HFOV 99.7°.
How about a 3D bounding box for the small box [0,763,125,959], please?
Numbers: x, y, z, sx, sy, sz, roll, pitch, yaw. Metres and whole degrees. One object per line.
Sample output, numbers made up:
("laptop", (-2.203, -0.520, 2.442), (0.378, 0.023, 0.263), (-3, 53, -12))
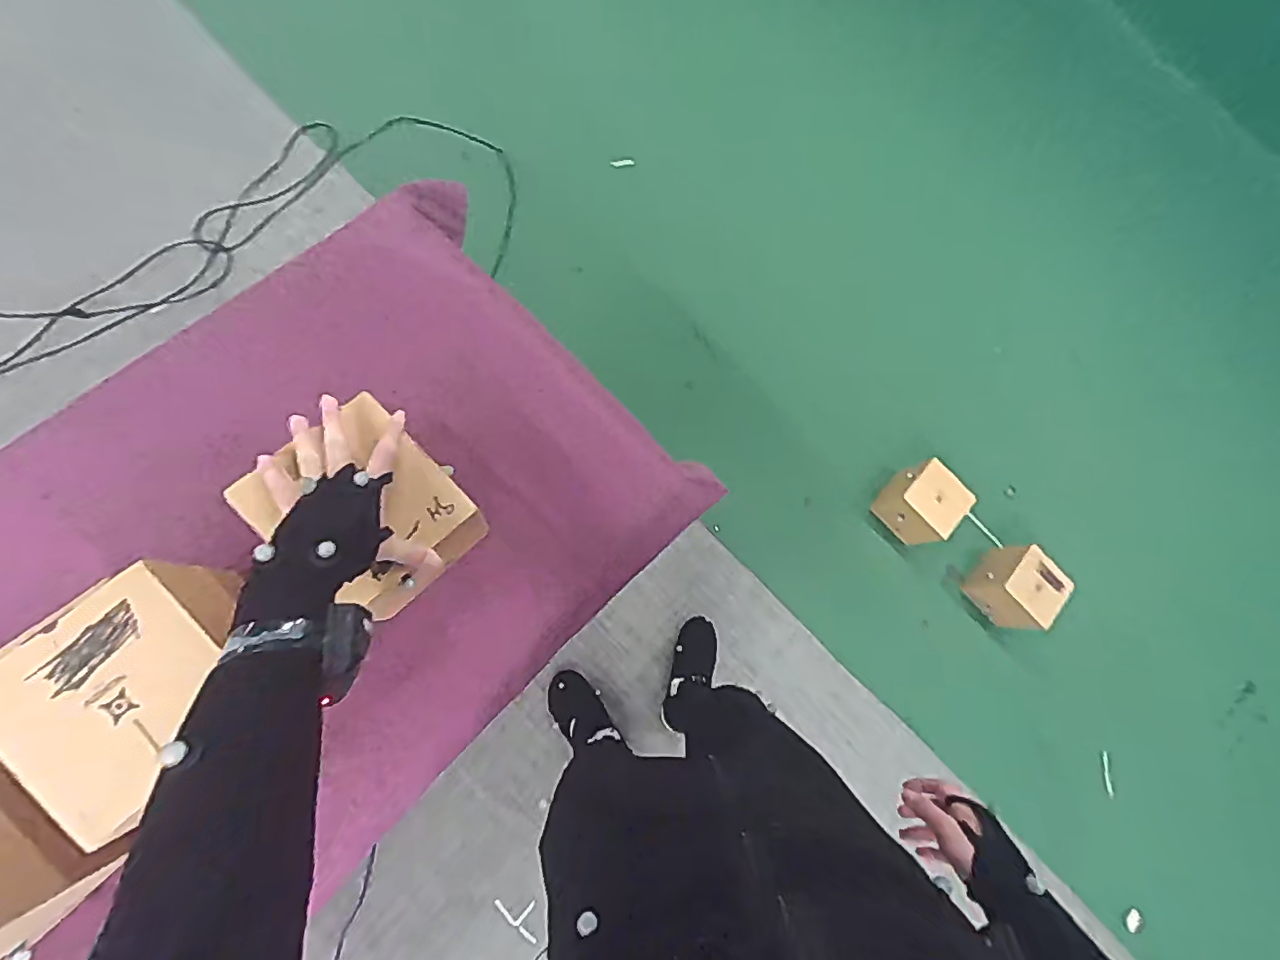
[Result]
("small box", (-0.630, 0.362, 0.468), (0.179, 0.176, 0.168), (46, 73, 2))

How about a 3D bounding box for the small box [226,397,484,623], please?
("small box", (-0.299, 0.045, 0.613), (0.168, 0.176, 0.179), (-43, 87, -17))

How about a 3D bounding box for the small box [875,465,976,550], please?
("small box", (0.827, 0.088, 1.588), (0.168, 0.176, 0.179), (46, 72, 3))

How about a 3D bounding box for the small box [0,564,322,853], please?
("small box", (-0.466, 0.209, 0.539), (0.168, 0.176, 0.179), (-42, 88, -17))
